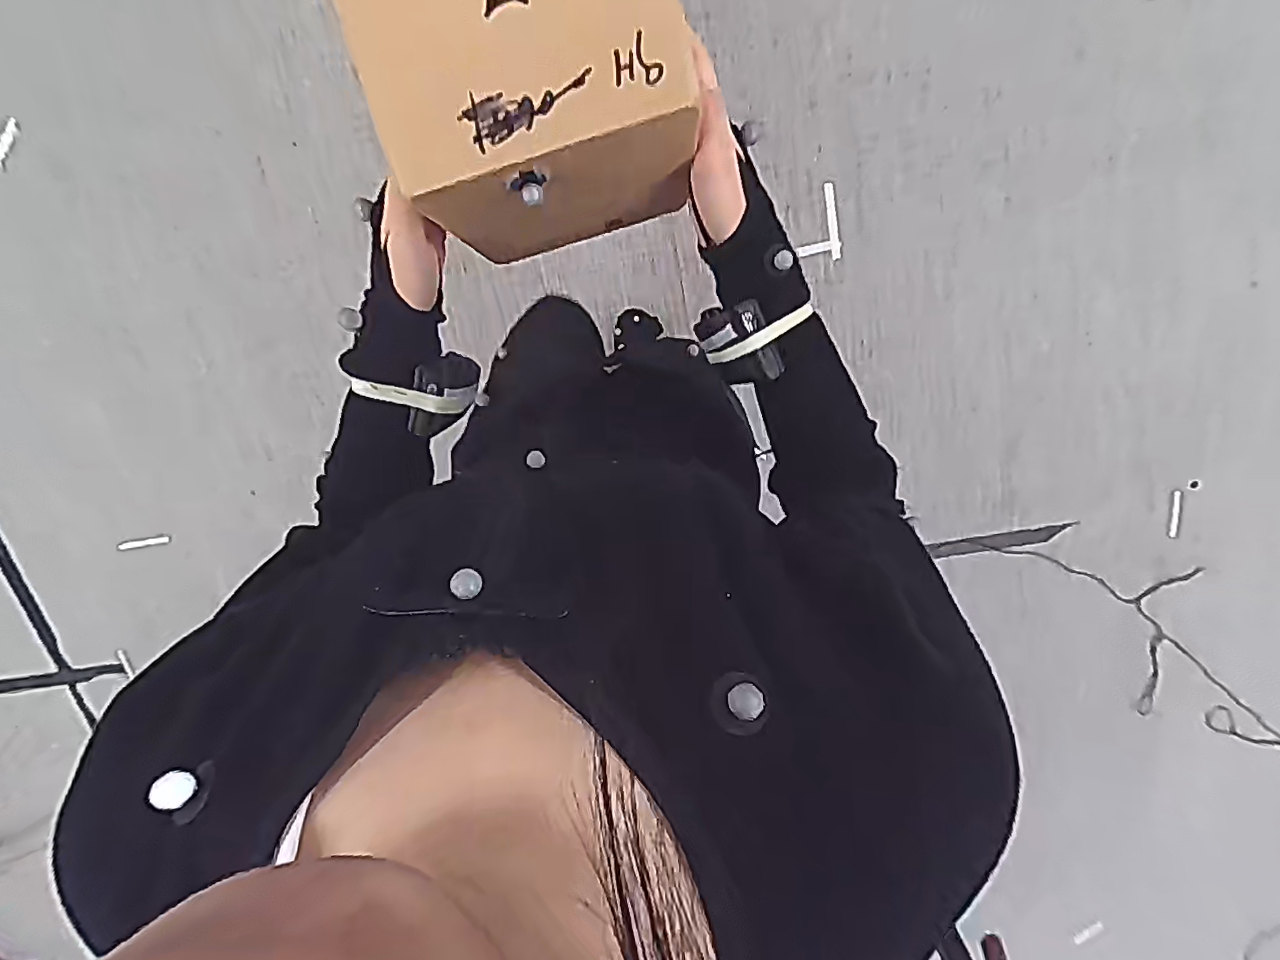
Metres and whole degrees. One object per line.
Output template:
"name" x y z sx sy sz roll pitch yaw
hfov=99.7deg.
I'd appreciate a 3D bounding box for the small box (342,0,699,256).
"small box" -0.067 -0.270 0.343 0.168 0.176 0.179 -15 98 5
